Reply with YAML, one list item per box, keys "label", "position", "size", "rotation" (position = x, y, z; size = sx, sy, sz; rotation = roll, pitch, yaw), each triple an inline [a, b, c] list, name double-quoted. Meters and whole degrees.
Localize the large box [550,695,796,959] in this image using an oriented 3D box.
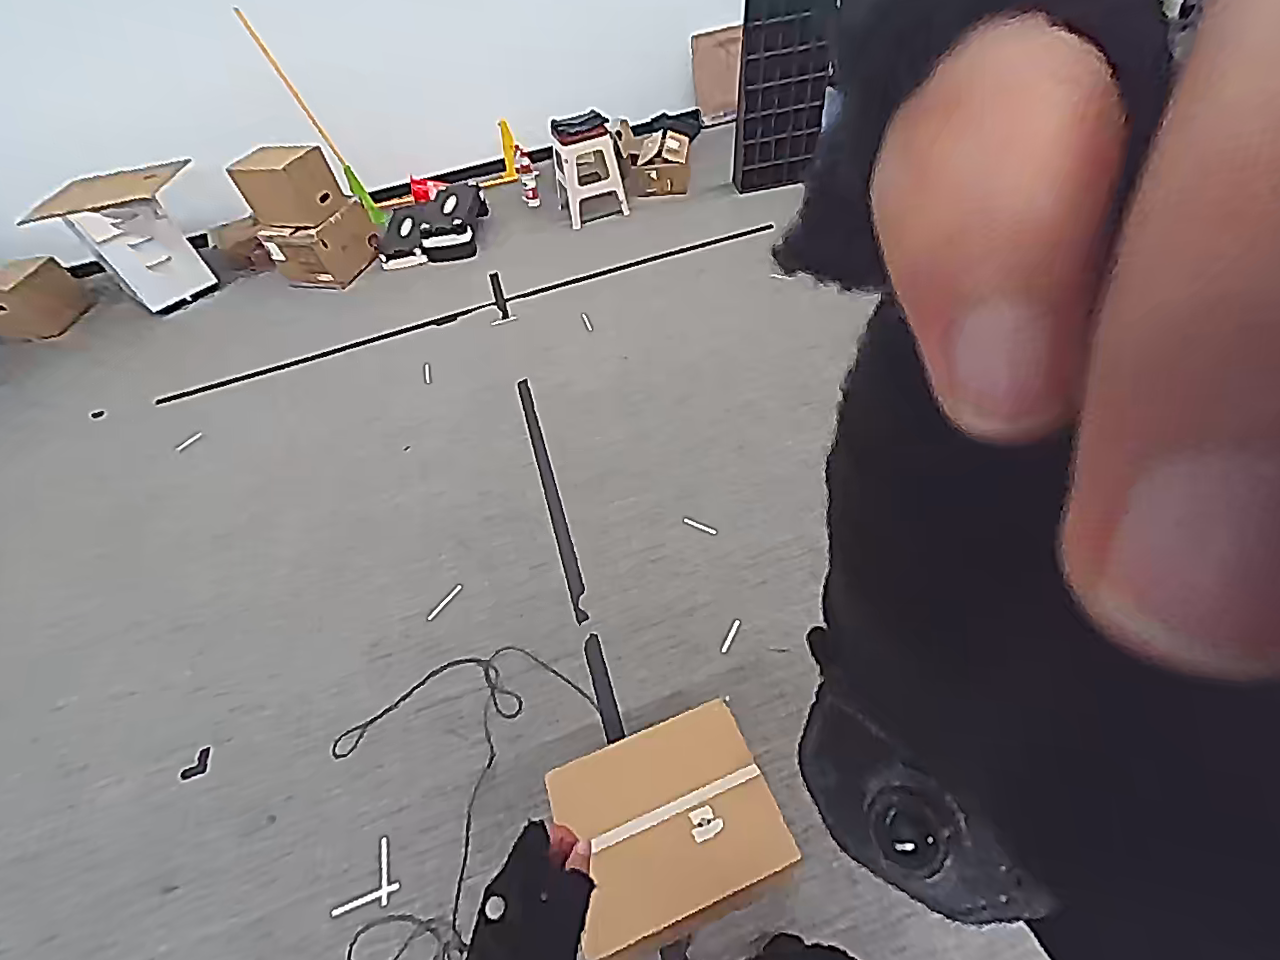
- label: "large box"
  position: [0.066, 0.733, 1.147]
  size: [0.408, 0.320, 0.320]
  rotation: [-20, 48, -9]
